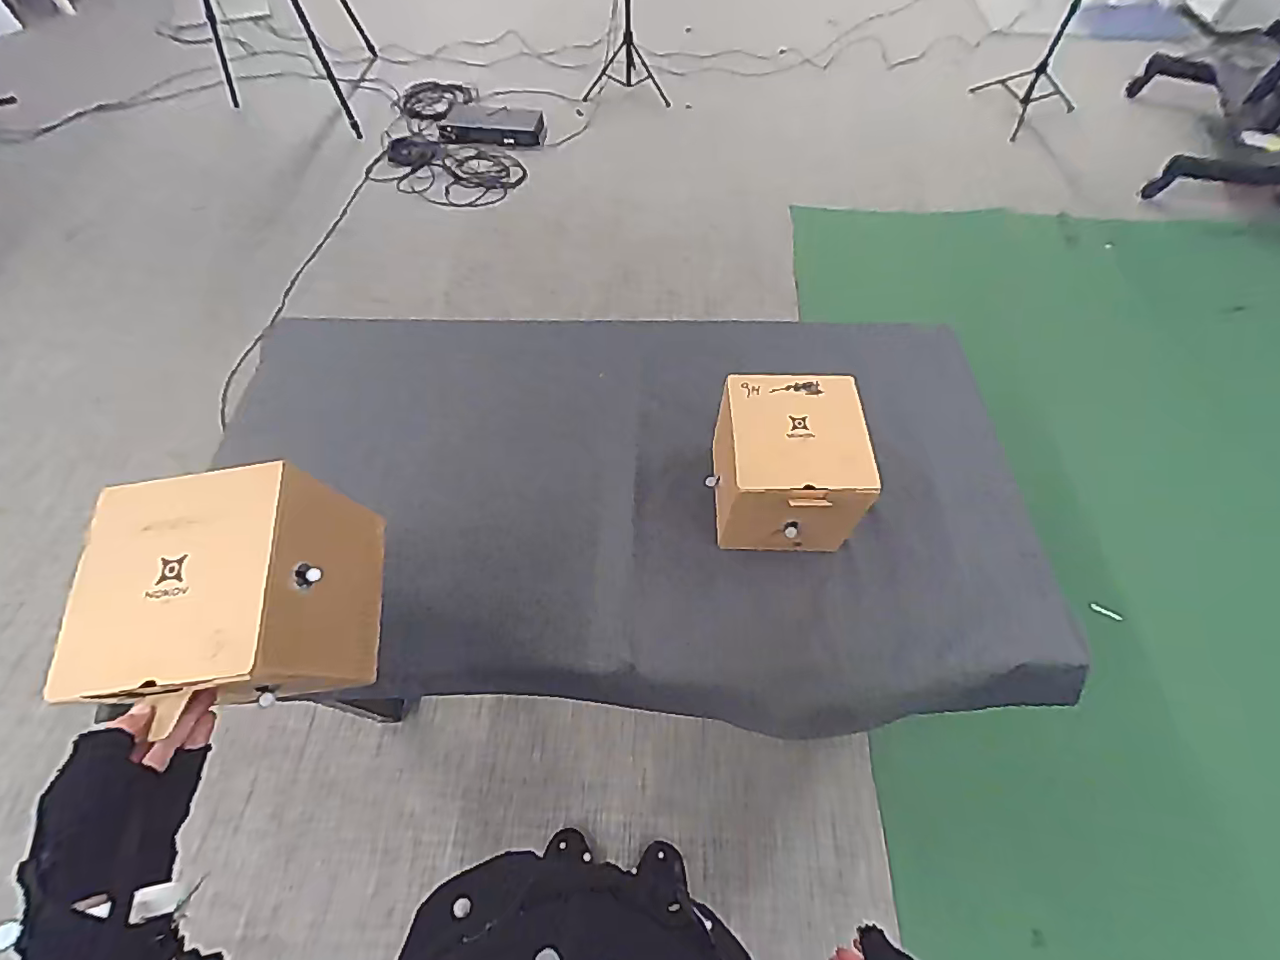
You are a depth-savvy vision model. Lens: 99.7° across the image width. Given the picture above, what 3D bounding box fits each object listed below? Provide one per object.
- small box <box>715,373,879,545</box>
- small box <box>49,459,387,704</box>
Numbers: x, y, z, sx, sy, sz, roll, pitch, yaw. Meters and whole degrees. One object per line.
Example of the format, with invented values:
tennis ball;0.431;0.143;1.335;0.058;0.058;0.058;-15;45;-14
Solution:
small box;0.194;-0.022;0.723;0.168;0.176;0.179;1;60;0
small box;-0.356;0.102;0.498;0.168;0.176;0.179;-9;67;2
